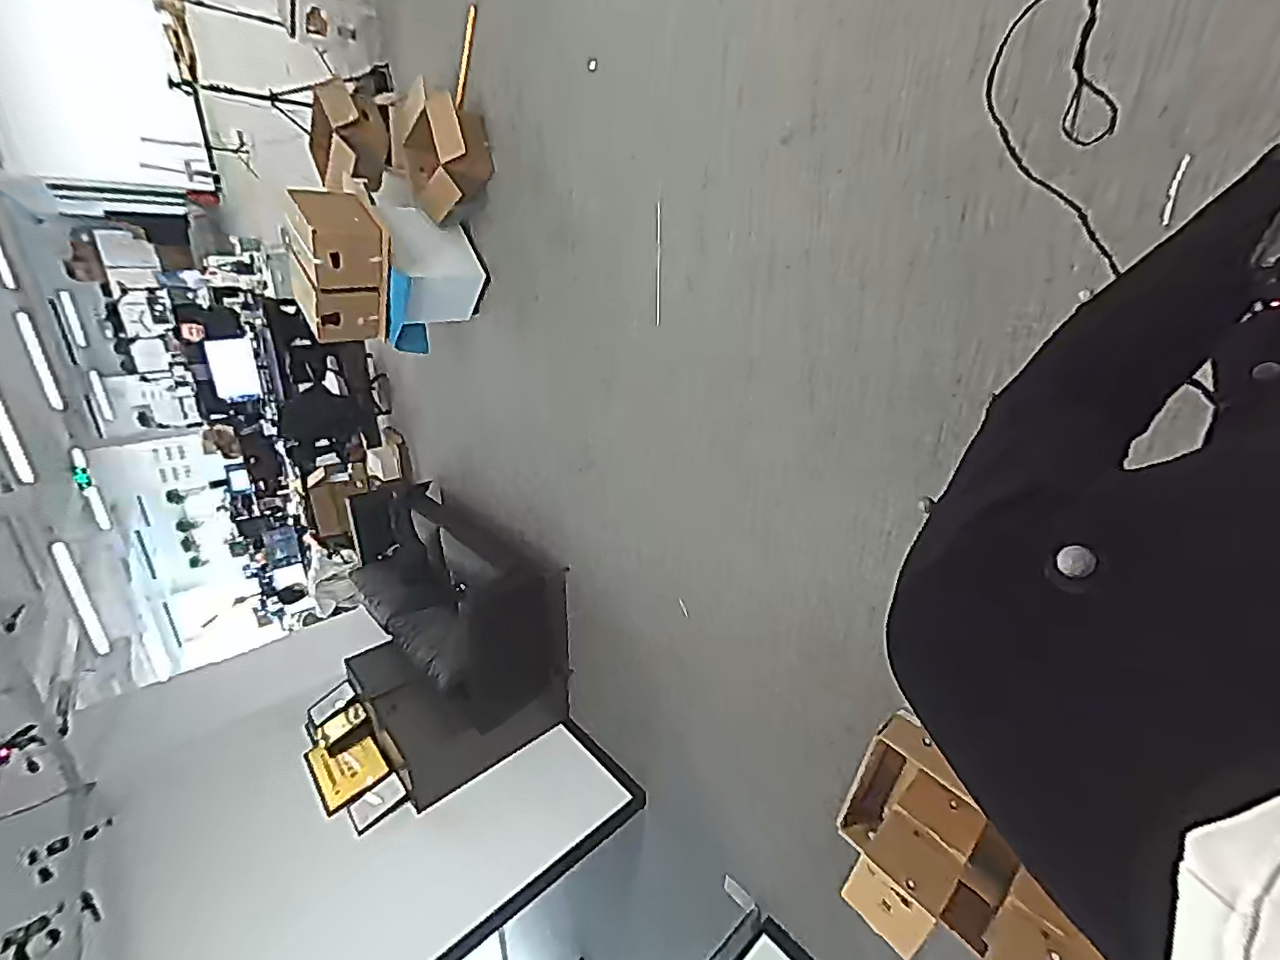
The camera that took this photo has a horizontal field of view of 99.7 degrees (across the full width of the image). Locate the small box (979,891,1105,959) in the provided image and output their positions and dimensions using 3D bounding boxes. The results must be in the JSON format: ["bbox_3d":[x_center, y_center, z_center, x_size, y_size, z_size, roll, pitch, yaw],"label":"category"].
[{"bbox_3d":[0.789,0.987,1.075,0.168,0.176,0.179,26,123,40],"label":"small box"}]

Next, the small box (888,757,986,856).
[{"bbox_3d":[0.729,0.844,1.346,0.168,0.176,0.179,29,124,39],"label":"small box"}]

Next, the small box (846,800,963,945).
[{"bbox_3d":[0.609,0.894,1.244,0.168,0.176,0.179,31,126,37],"label":"small box"}]
